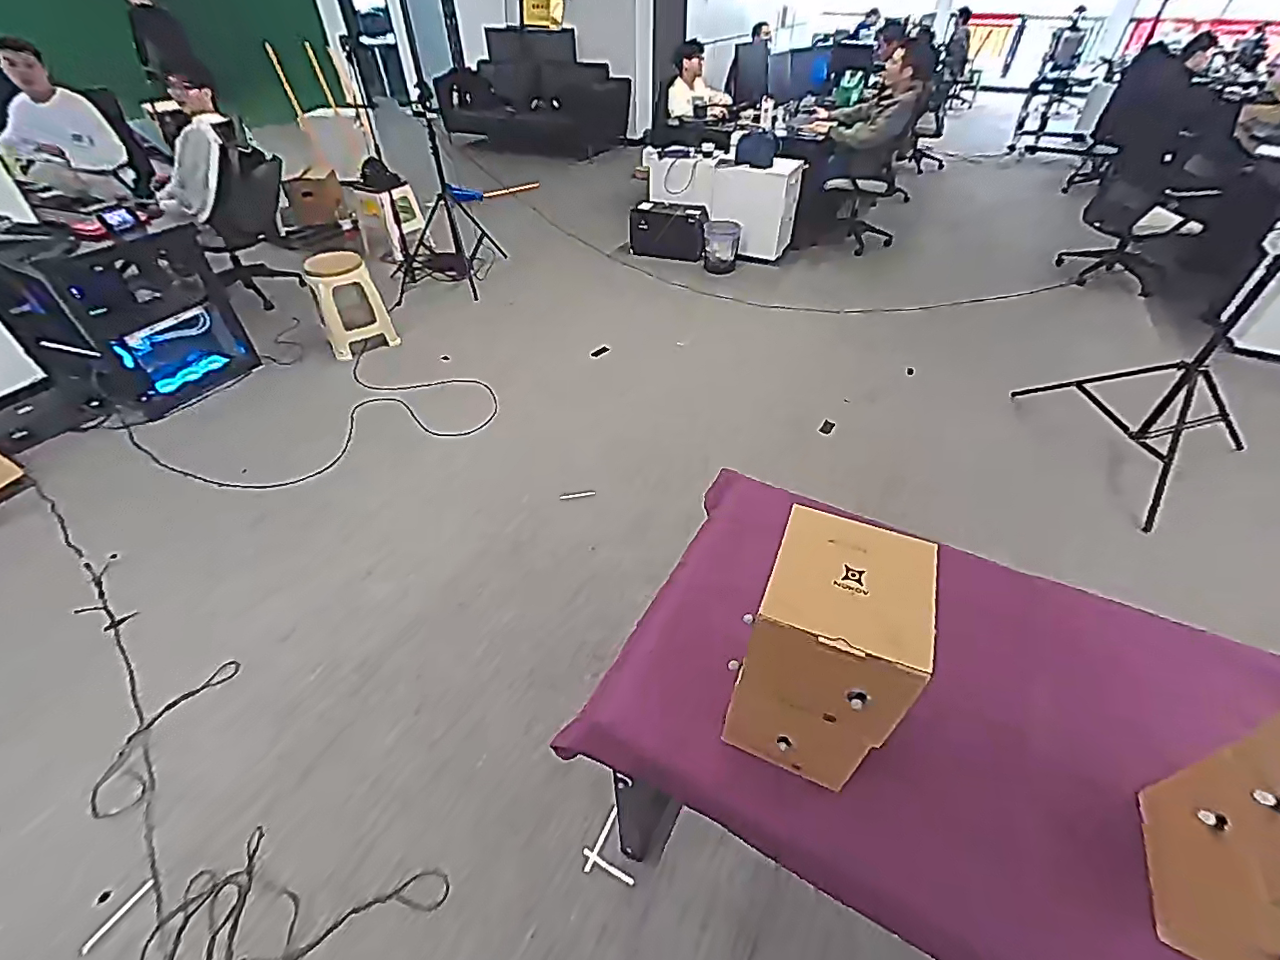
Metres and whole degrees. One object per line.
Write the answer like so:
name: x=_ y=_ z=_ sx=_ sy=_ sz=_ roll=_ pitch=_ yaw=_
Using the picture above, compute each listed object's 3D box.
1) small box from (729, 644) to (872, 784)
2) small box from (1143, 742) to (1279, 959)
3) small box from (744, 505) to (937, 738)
small box: x=0.227 y=0.279 z=0.745 sx=0.168 sy=0.176 sz=0.179 roll=18 pitch=45 yaw=17
small box: x=0.696 y=0.433 z=0.582 sx=0.168 sy=0.176 sz=0.179 roll=20 pitch=45 yaw=21
small box: x=0.226 y=0.164 z=0.630 sx=0.168 sy=0.176 sz=0.179 roll=17 pitch=44 yaw=16
